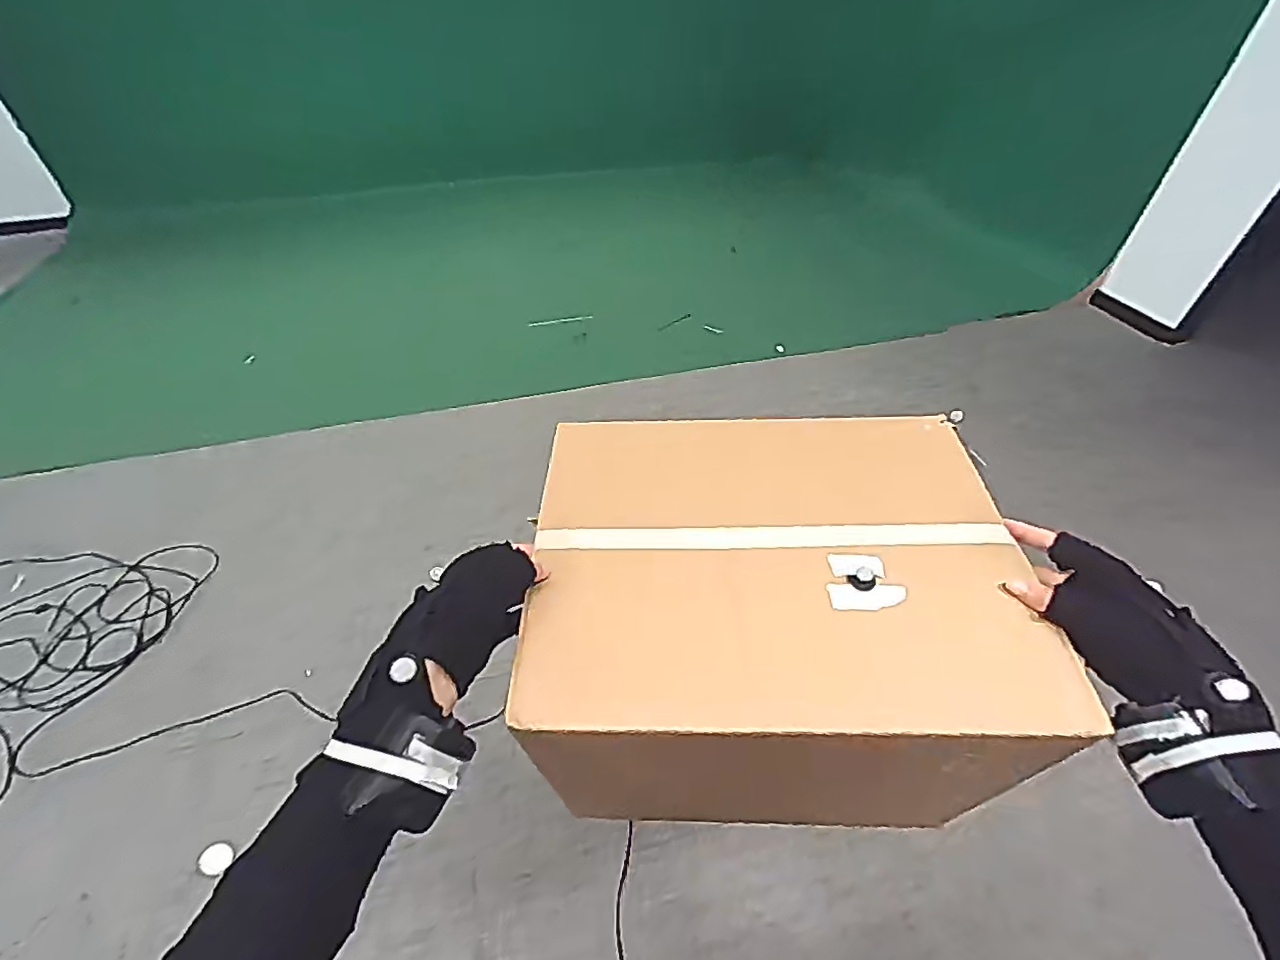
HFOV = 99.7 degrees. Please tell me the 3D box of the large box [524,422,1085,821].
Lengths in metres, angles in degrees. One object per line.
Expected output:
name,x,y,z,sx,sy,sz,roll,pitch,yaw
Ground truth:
large box,0.119,0.159,0.588,0.408,0.320,0.320,-2,49,3
